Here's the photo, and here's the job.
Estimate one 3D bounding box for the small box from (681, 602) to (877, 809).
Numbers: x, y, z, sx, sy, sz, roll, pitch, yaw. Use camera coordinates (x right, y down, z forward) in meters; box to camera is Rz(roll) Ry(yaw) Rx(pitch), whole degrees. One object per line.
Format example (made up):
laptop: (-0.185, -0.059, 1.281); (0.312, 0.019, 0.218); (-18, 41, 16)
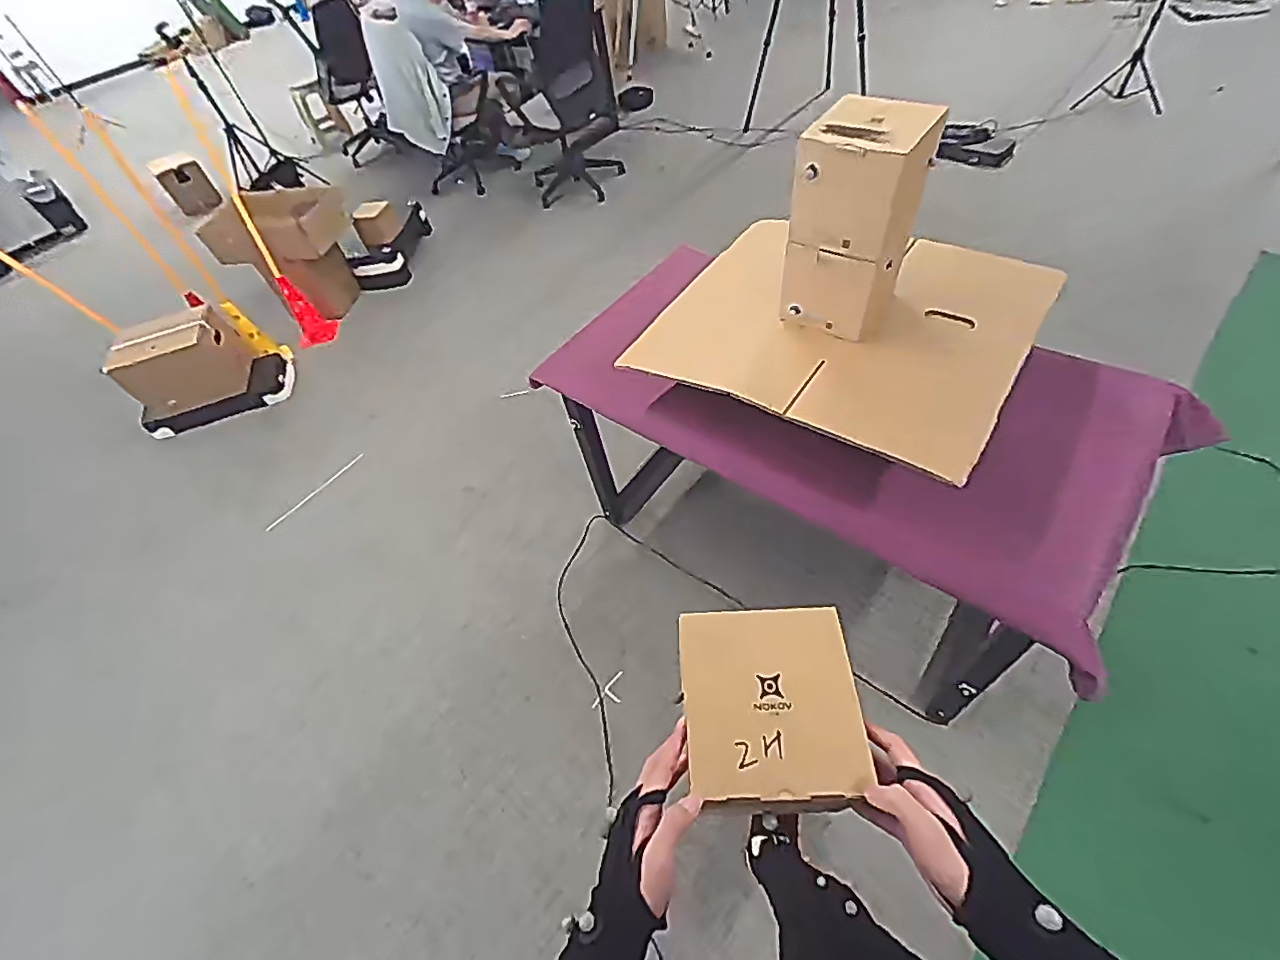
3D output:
small box: (0.129, 0.247, 0.584); (0.168, 0.176, 0.179); (-3, 55, 3)

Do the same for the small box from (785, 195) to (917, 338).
small box: (0.385, -0.396, 1.012); (0.168, 0.176, 0.179); (28, 62, 25)
